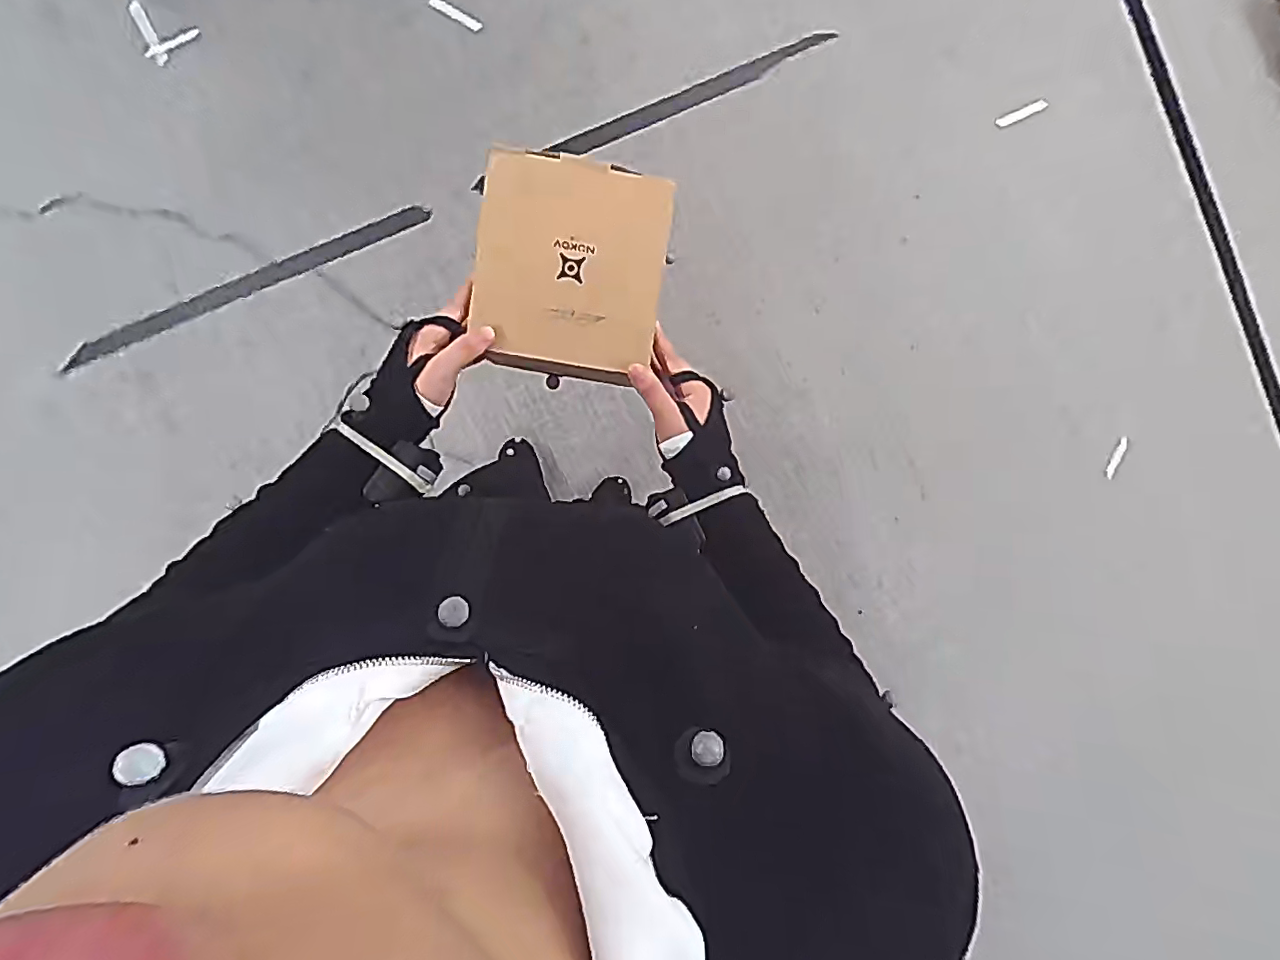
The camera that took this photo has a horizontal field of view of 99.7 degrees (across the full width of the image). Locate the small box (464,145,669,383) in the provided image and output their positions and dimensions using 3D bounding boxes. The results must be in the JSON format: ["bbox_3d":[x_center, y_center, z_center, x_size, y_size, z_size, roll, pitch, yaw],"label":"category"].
[{"bbox_3d":[-0.073,-0.203,0.561,0.168,0.176,0.179,7,96,-5],"label":"small box"}]
